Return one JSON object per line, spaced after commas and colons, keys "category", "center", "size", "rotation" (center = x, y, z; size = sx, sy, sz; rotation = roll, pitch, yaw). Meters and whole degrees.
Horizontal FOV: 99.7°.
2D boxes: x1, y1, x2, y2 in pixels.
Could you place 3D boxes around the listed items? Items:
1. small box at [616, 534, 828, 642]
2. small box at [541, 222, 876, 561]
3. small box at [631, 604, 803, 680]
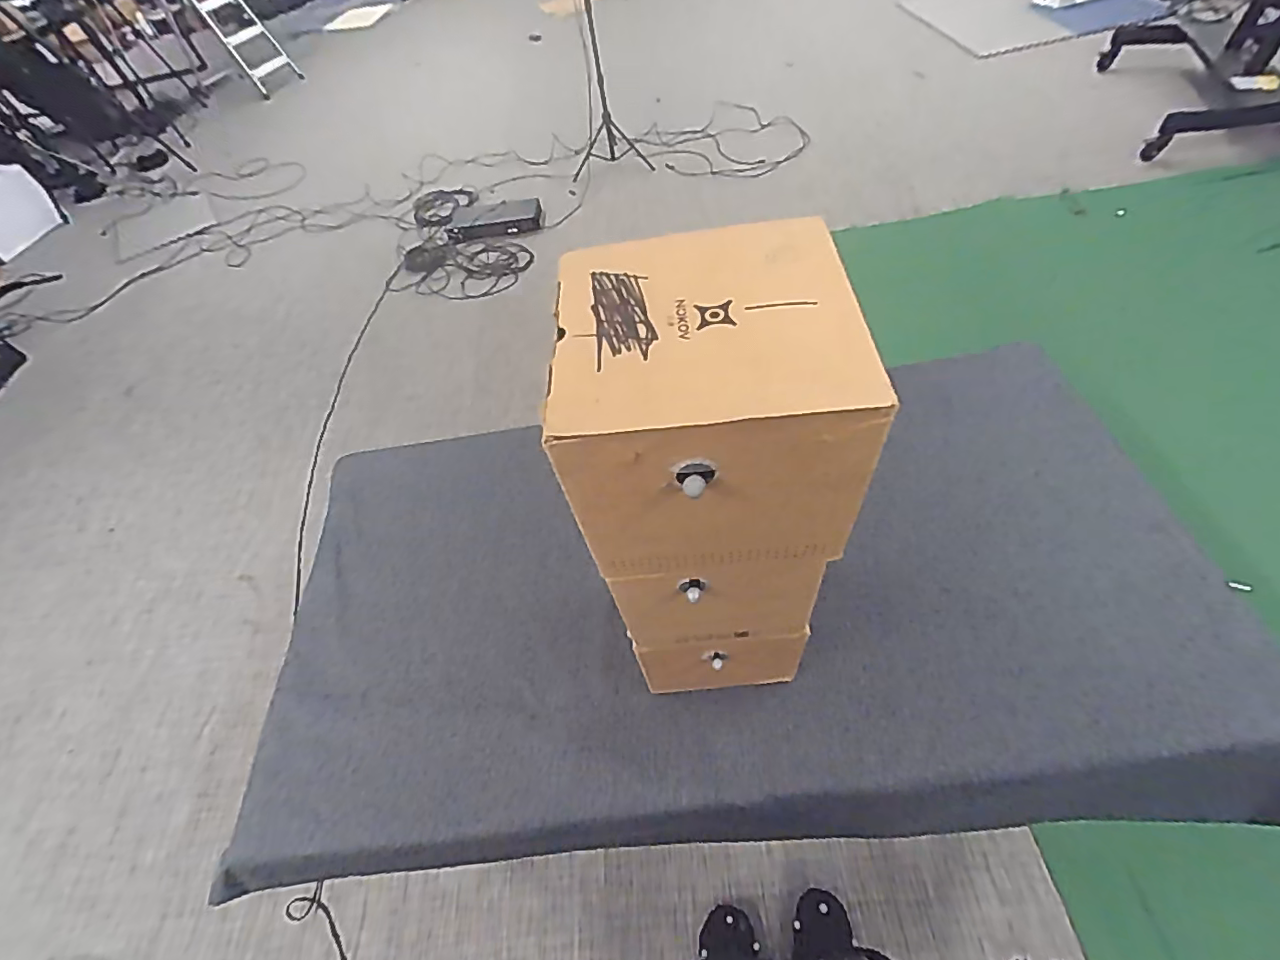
{"category": "small box", "center": [0.065, 0.039, 0.525], "size": [0.168, 0.176, 0.179], "rotation": [-8, 55, 3]}
{"category": "small box", "center": [0.043, -0.052, 0.386], "size": [0.179, 0.176, 0.168], "rotation": [-5, 55, 5]}
{"category": "small box", "center": [0.085, 0.134, 0.654], "size": [0.179, 0.176, 0.168], "rotation": [-7, 55, 4]}
